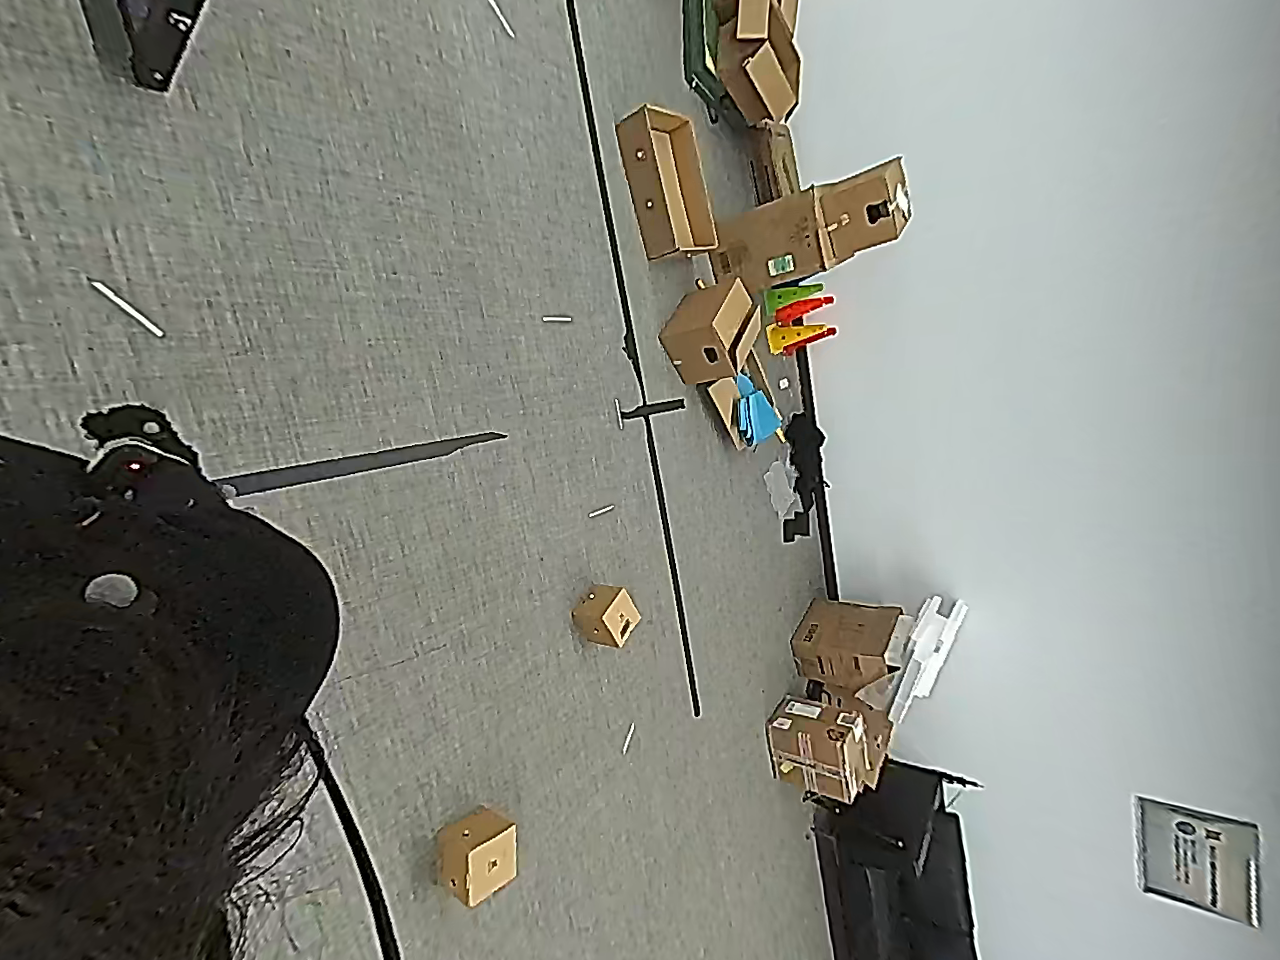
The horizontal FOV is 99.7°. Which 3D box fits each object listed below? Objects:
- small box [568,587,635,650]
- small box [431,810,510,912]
[{"bbox_3d":[-0.154,0.546,2.160,0.168,0.176,0.179,-50,124,-41],"label":"small box"},{"bbox_3d":[-0.525,1.161,1.664,0.179,0.176,0.168,0,89,-52],"label":"small box"}]
